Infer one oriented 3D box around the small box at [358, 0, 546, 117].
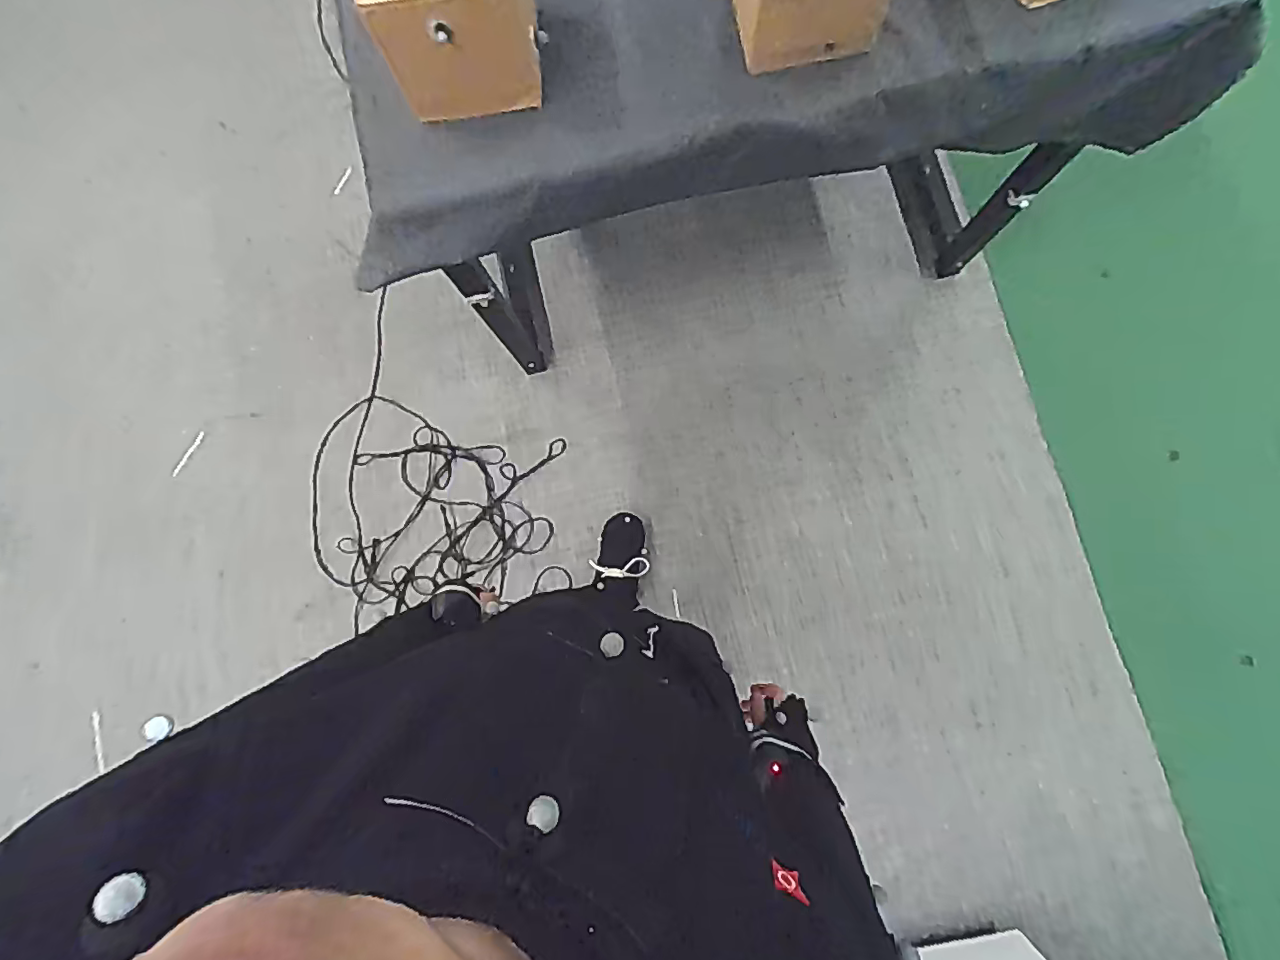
[{"bbox_3d":[-0.225,-0.593,0.676,0.179,0.176,0.168,-6,83,1],"label":"small box"}]
